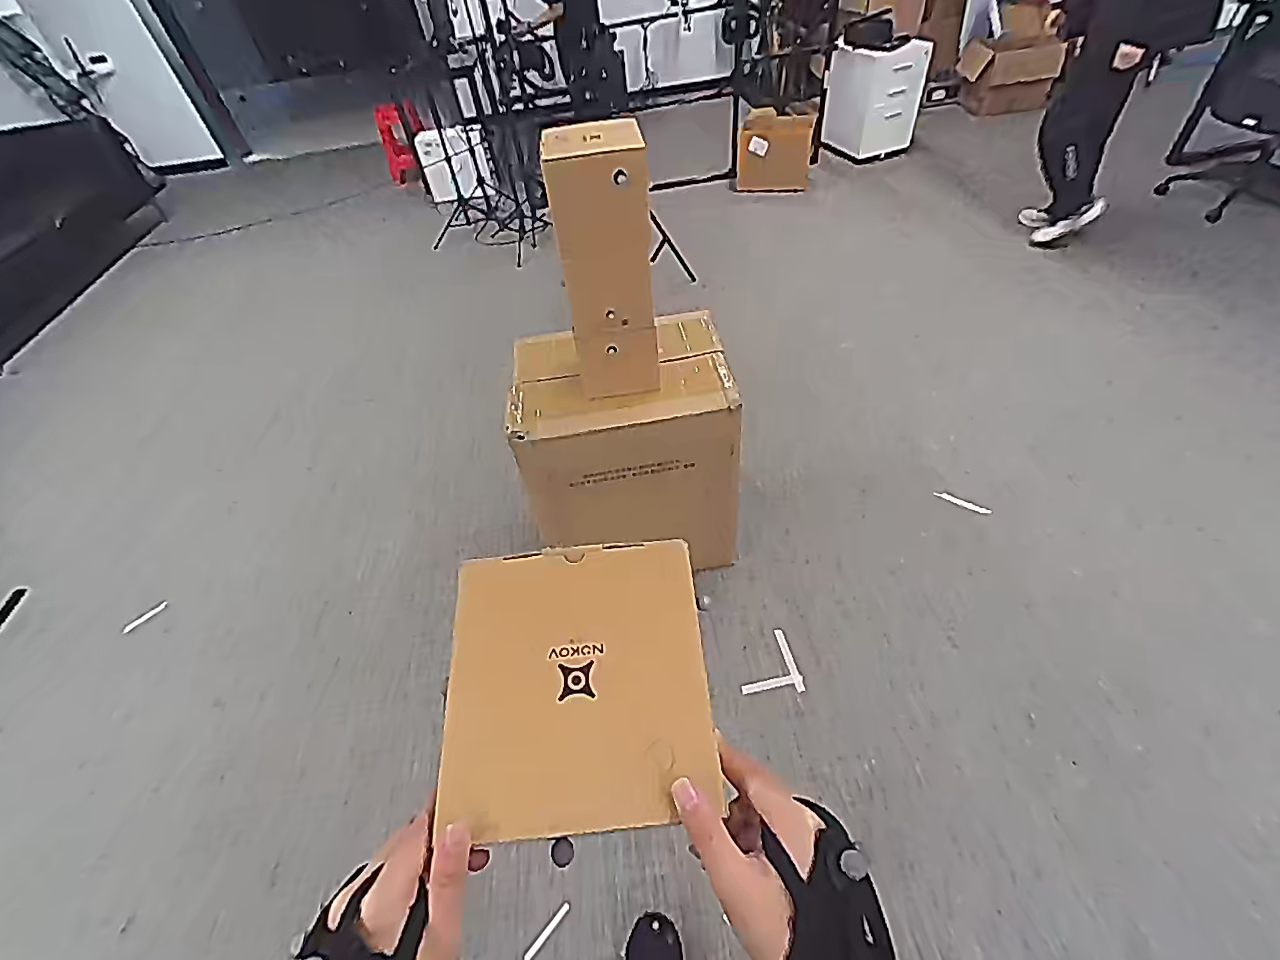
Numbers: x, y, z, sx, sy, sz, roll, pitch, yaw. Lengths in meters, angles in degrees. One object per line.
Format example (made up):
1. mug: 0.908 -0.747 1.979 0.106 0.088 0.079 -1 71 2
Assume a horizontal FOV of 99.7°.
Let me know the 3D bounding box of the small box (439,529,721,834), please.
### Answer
1. small box: -0.036 0.160 0.415 0.168 0.176 0.179 -6 56 -1

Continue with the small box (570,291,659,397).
1. small box: -0.057 -0.306 1.237 0.179 0.176 0.168 -8 47 0

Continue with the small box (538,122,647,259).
1. small box: -0.083 -0.530 0.997 0.179 0.176 0.168 -9 47 0
